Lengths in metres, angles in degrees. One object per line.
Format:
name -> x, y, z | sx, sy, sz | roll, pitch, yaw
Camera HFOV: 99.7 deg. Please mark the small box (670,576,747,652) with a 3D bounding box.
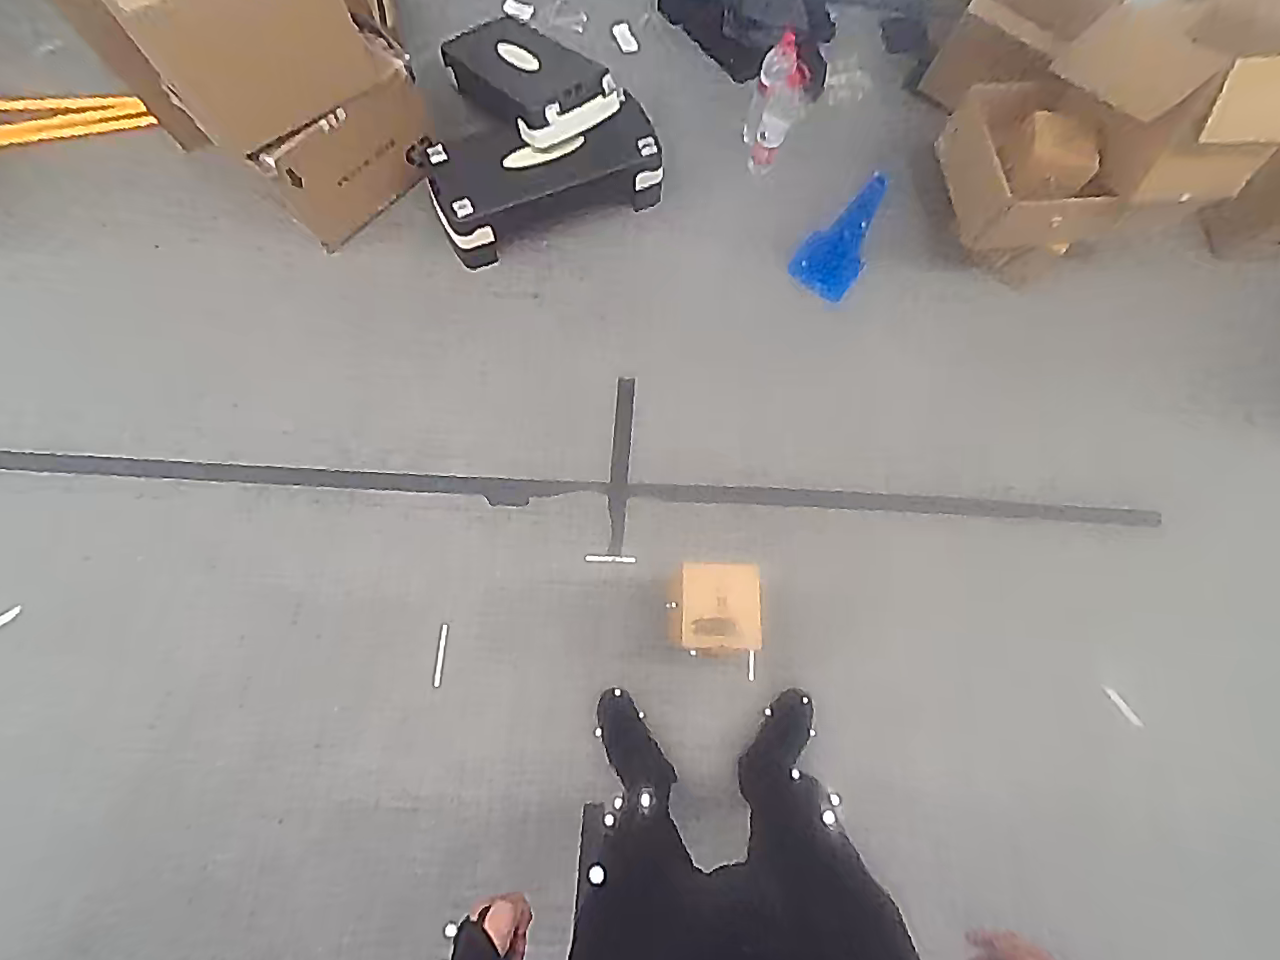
small box -> 0.165, 0.337, 1.360 | 0.168, 0.176, 0.179 | 0, 76, -3
